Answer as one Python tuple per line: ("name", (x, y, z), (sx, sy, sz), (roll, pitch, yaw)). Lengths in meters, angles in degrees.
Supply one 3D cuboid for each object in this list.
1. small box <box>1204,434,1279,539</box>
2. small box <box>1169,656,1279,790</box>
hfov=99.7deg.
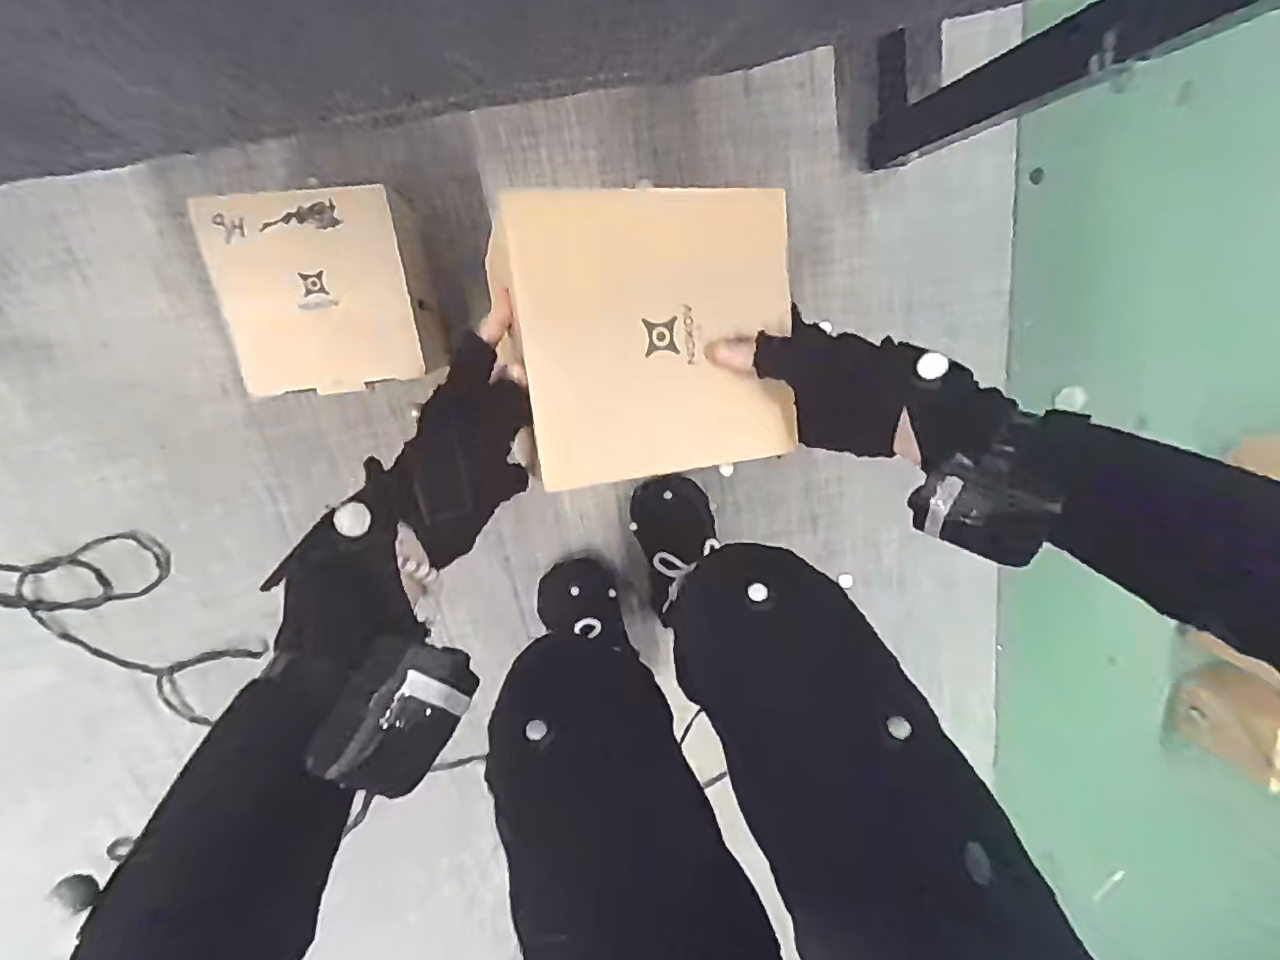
("small box", (1.186, 0.013, 0.962), (0.179, 0.176, 0.168), (-2, 106, -10))
("small box", (1.263, 0.487, 1.119), (0.179, 0.176, 0.168), (-18, 109, -7))
